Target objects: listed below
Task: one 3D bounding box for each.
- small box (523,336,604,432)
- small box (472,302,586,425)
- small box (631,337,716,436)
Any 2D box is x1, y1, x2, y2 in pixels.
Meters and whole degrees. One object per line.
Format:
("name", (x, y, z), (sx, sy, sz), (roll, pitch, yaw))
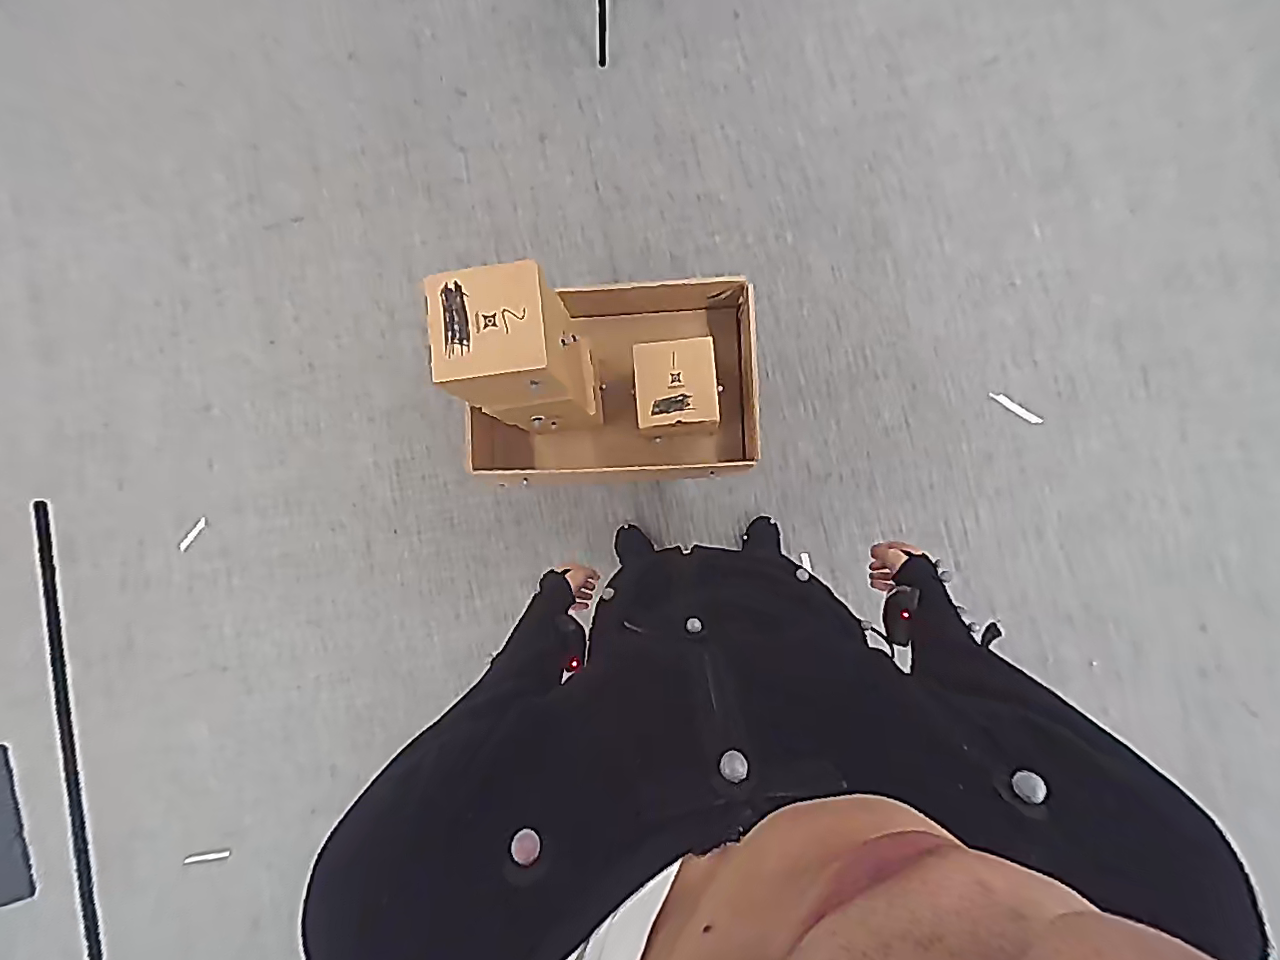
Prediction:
("small box", (-0.181, -0.203, 1.189), (0.179, 0.176, 0.168), (-5, 87, 3))
("small box", (-0.203, -0.213, 1.027), (0.168, 0.176, 0.179), (-8, 86, 4))
("small box", (0.074, -0.193, 1.170), (0.168, 0.176, 0.179), (-5, 86, 4))
